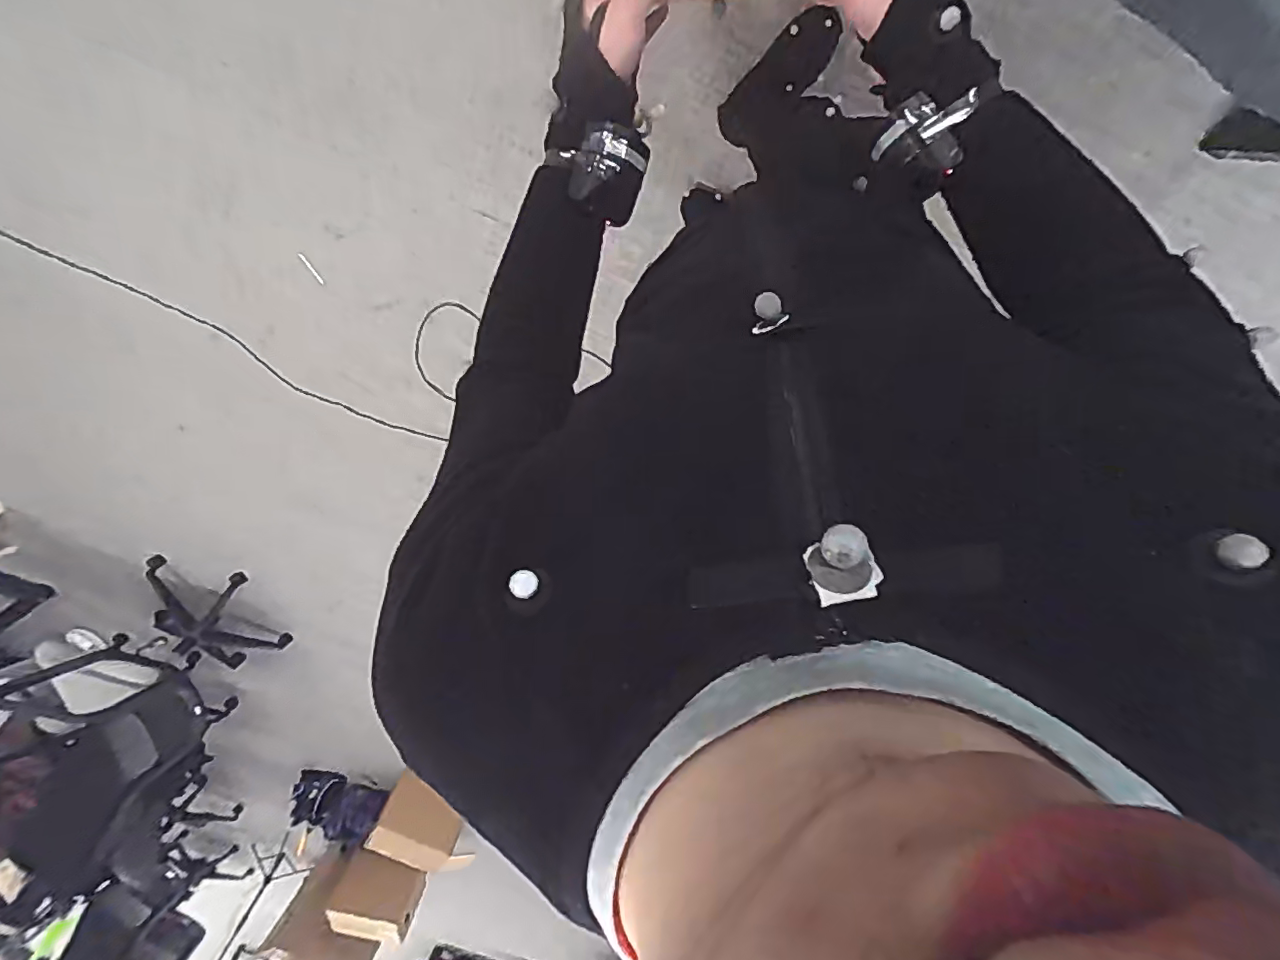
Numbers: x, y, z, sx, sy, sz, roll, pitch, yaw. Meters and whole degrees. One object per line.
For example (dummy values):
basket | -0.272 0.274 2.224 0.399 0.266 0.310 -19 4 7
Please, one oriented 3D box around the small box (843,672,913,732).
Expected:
small box | 0.895 0.865 2.057 0.168 0.176 0.179 21 122 -4
